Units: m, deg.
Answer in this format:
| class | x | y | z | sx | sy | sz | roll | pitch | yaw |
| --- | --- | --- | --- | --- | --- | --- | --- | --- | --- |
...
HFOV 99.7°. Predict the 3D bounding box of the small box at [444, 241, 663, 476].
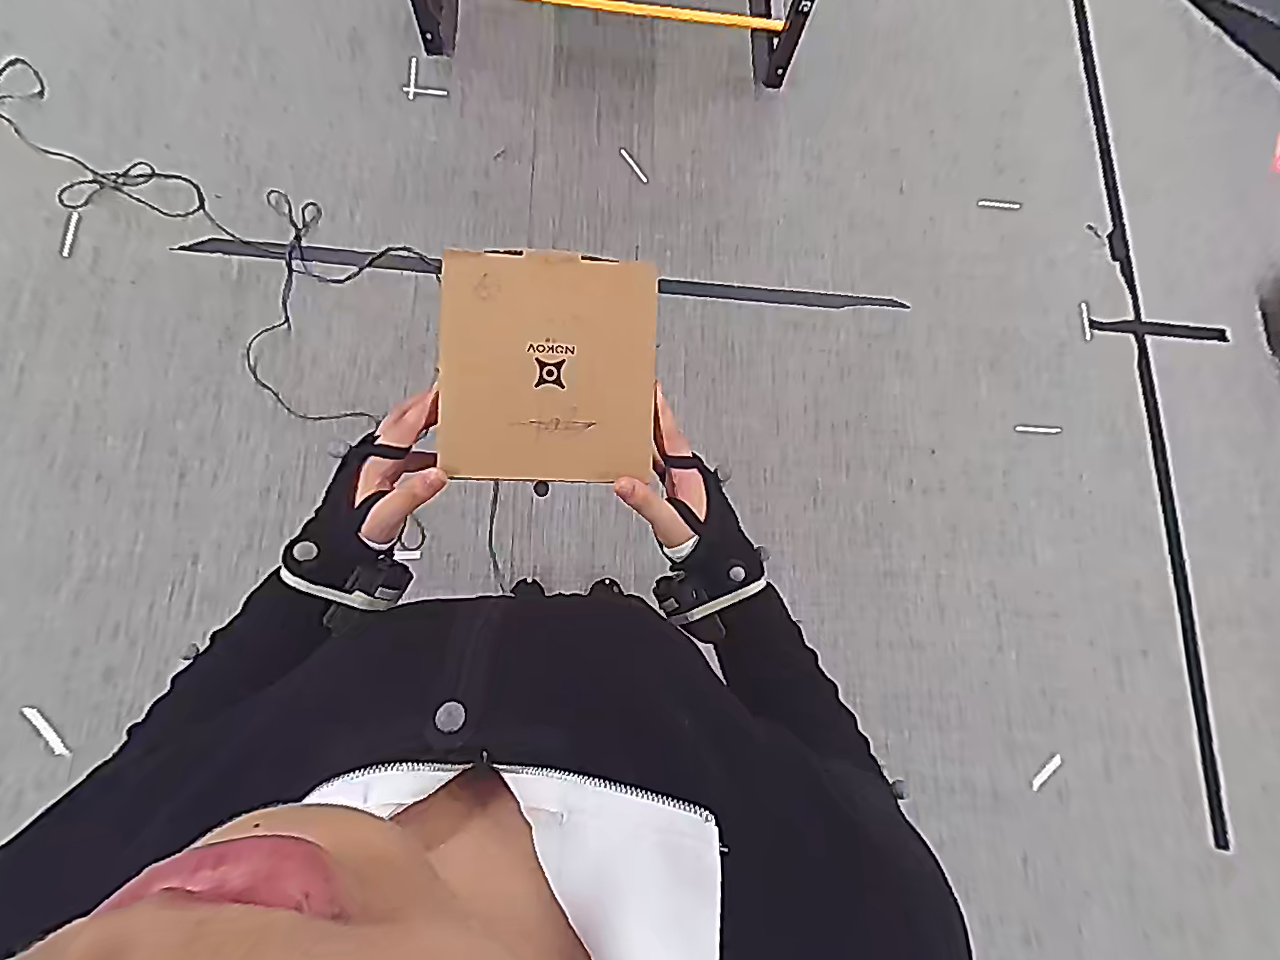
| class | x | y | z | sx | sy | sz | roll | pitch | yaw |
| --- | --- | --- | --- | --- | --- | --- | --- | --- | --- |
| small box | -0.074 | -0.094 | 0.497 | 0.168 | 0.176 | 0.179 | 1 | 91 | -6 |
